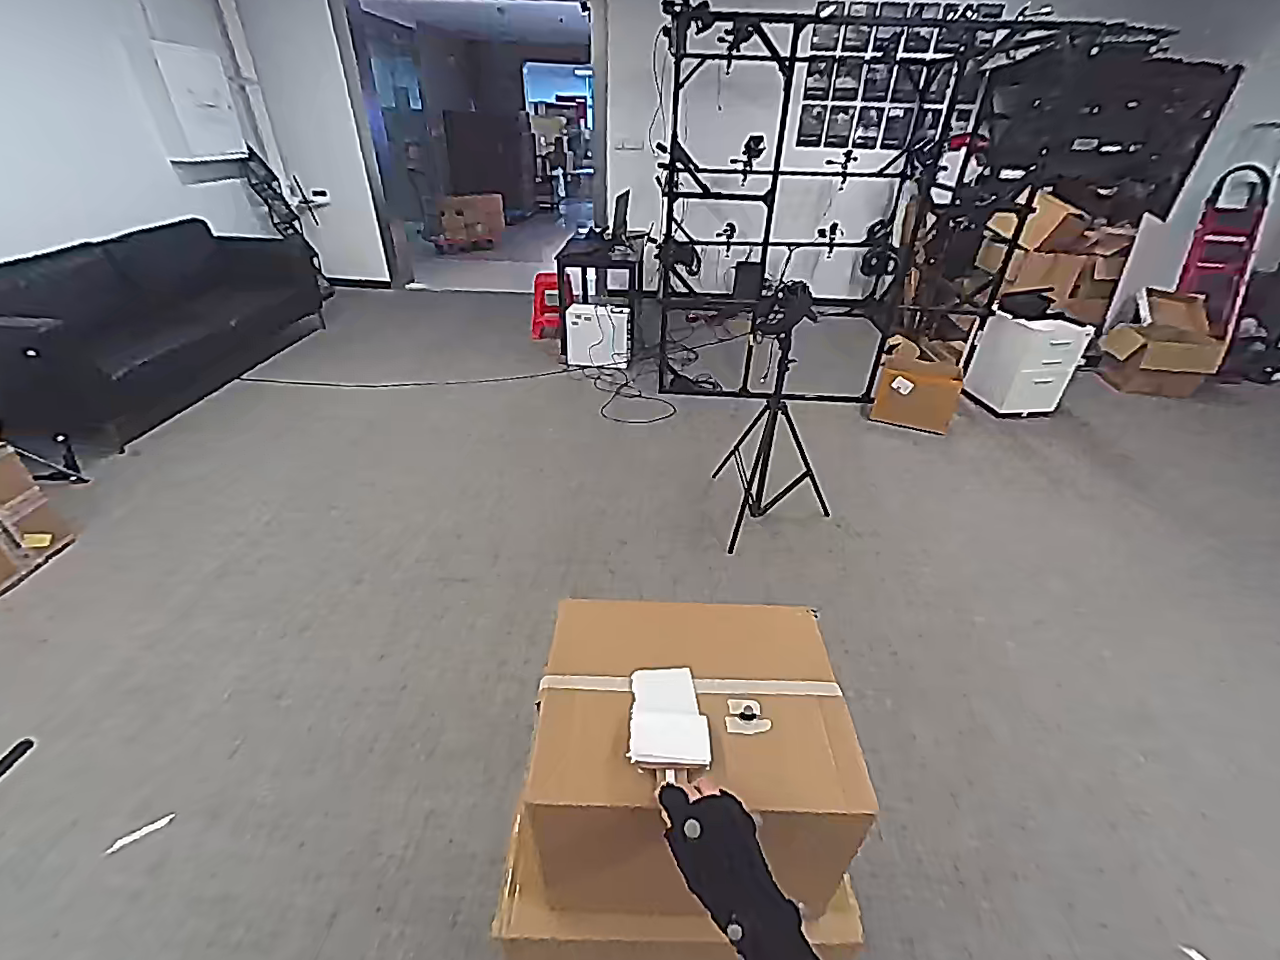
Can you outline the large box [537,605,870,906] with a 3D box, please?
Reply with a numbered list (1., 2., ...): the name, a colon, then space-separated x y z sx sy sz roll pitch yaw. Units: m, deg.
1. large box: 0.069 0.415 0.836 0.408 0.320 0.320 2 34 -1
